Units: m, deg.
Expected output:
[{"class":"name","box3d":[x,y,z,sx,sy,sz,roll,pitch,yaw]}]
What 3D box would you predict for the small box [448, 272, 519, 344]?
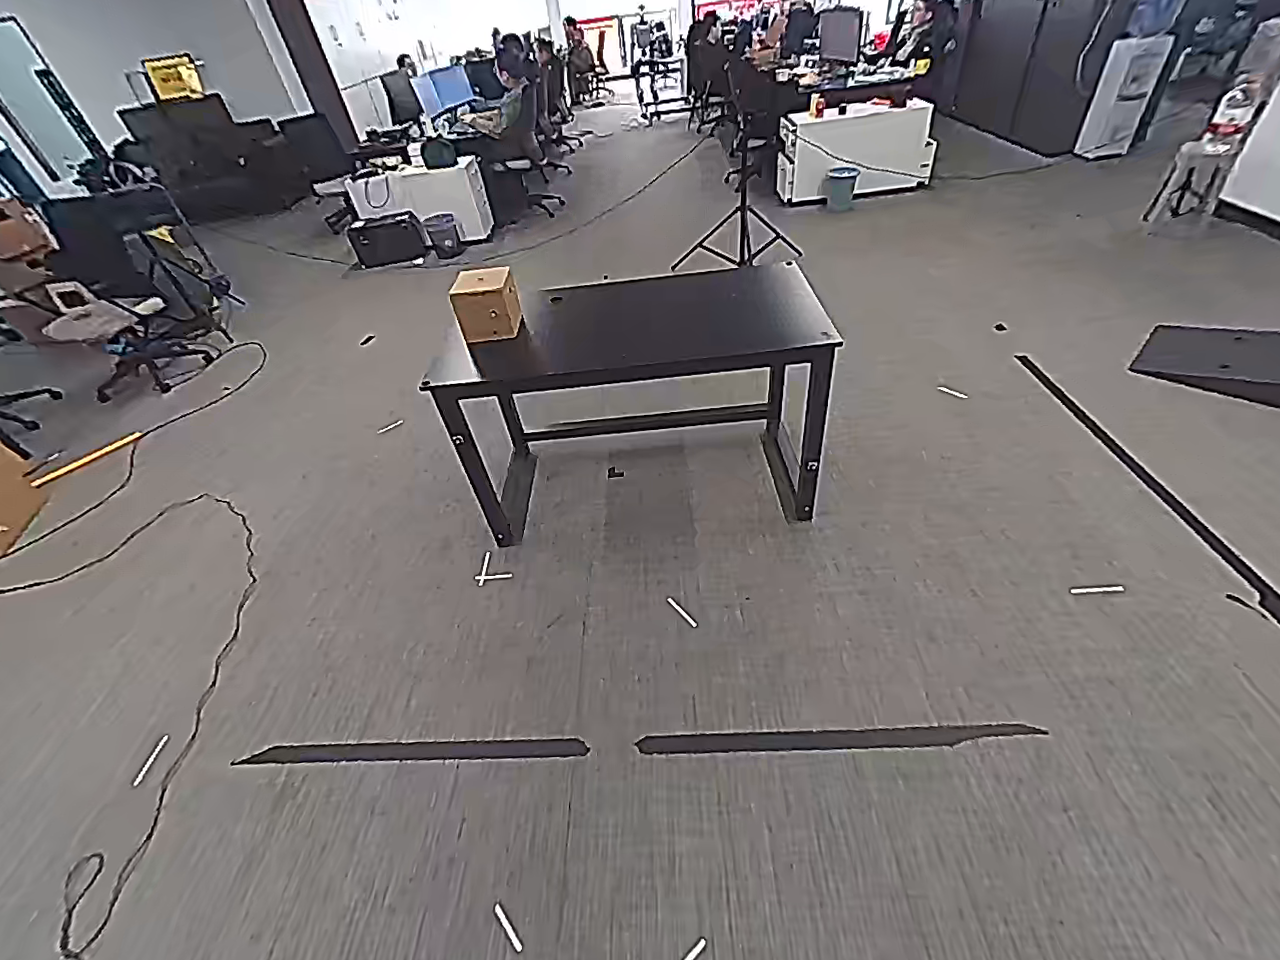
[{"class":"small box","box3d":[-0.497,-0.550,1.750,0.168,0.176,0.179,-5,41,1]}]
